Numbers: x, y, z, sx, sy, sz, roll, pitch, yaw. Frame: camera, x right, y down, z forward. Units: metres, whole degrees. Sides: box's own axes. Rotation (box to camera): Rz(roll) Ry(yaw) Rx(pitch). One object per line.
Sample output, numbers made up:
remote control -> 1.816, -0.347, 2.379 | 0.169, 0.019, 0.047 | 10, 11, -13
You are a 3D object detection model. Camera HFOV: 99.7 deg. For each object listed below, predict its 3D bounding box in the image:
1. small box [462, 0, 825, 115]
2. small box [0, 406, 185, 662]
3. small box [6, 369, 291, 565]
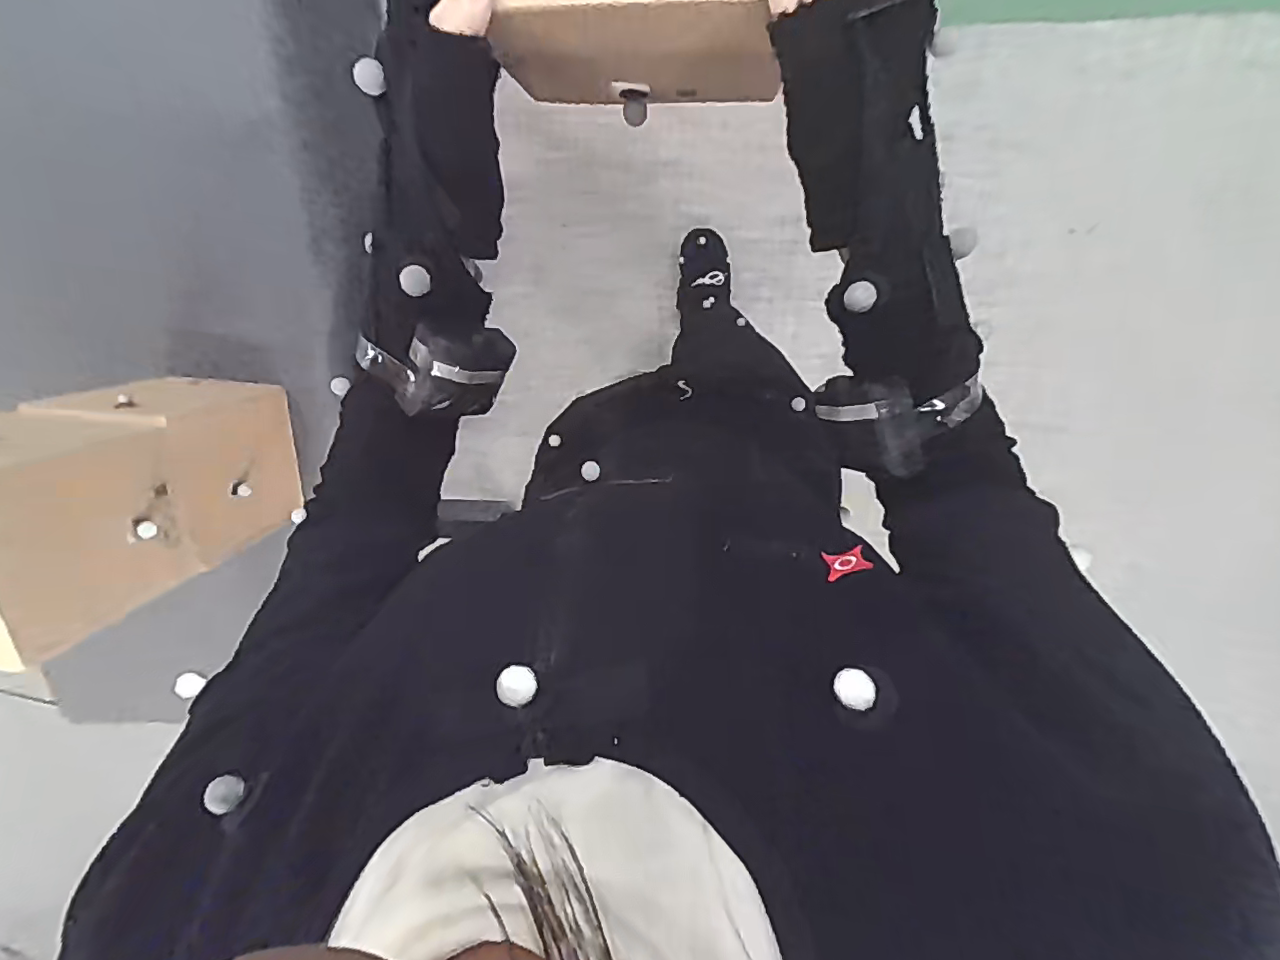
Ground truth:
small box -> 0.005, -0.311, 0.274 | 0.168, 0.176, 0.179 | 3, 112, 4
small box -> -0.572, 0.034, 0.485 | 0.179, 0.176, 0.168 | 6, 110, 4
small box -> -0.549, -0.024, 0.637 | 0.168, 0.176, 0.179 | 6, 111, 4
